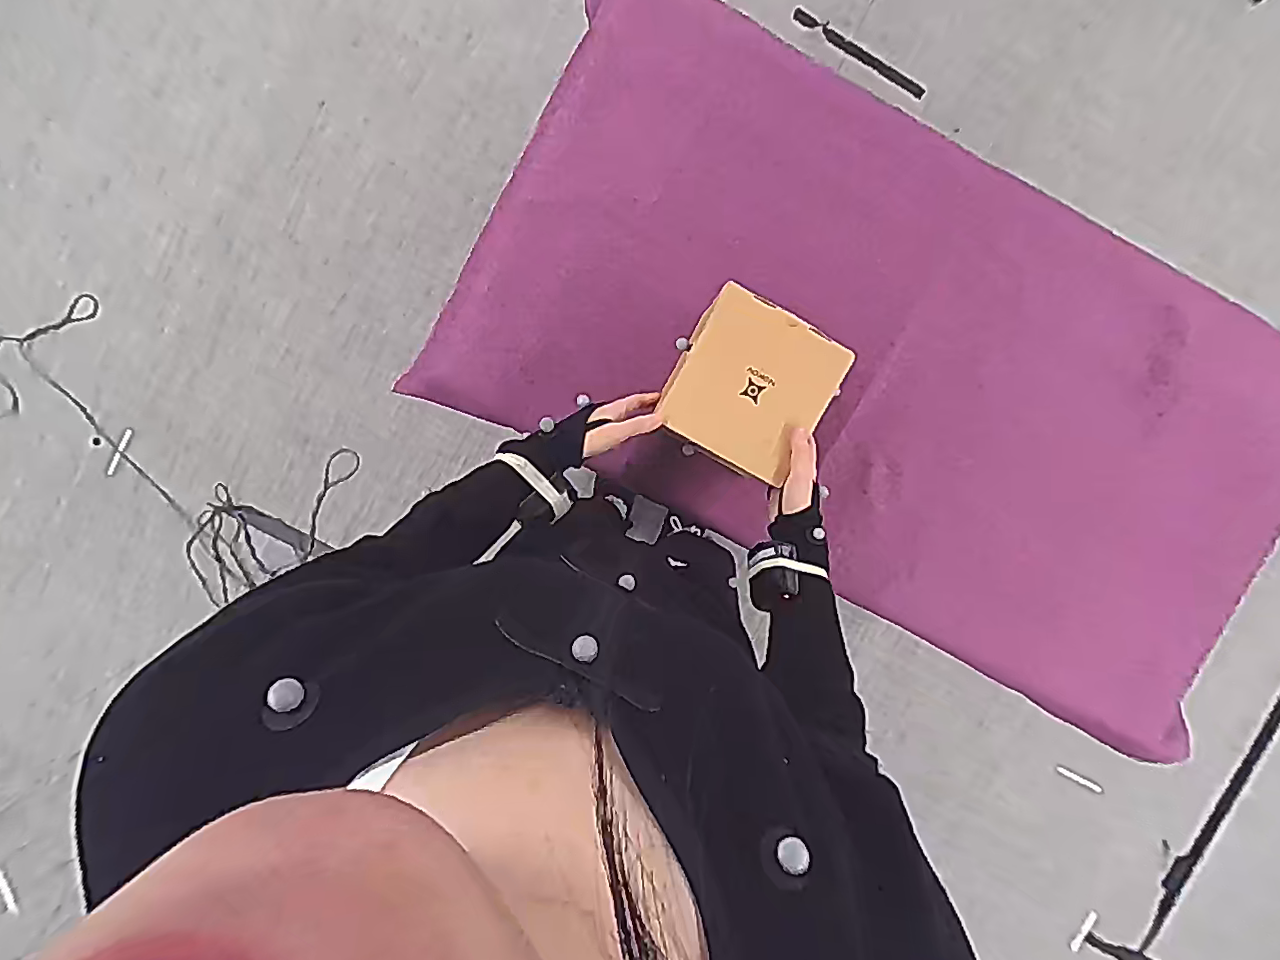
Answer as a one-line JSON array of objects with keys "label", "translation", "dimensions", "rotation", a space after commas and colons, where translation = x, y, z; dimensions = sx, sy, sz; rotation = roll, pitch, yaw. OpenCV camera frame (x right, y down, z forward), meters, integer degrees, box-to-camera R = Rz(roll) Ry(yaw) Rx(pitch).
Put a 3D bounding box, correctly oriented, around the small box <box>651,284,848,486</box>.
[{"label": "small box", "translation": [0.124, -0.111, 0.689], "dimensions": [0.168, 0.176, 0.179], "rotation": [28, 92, -4]}]
